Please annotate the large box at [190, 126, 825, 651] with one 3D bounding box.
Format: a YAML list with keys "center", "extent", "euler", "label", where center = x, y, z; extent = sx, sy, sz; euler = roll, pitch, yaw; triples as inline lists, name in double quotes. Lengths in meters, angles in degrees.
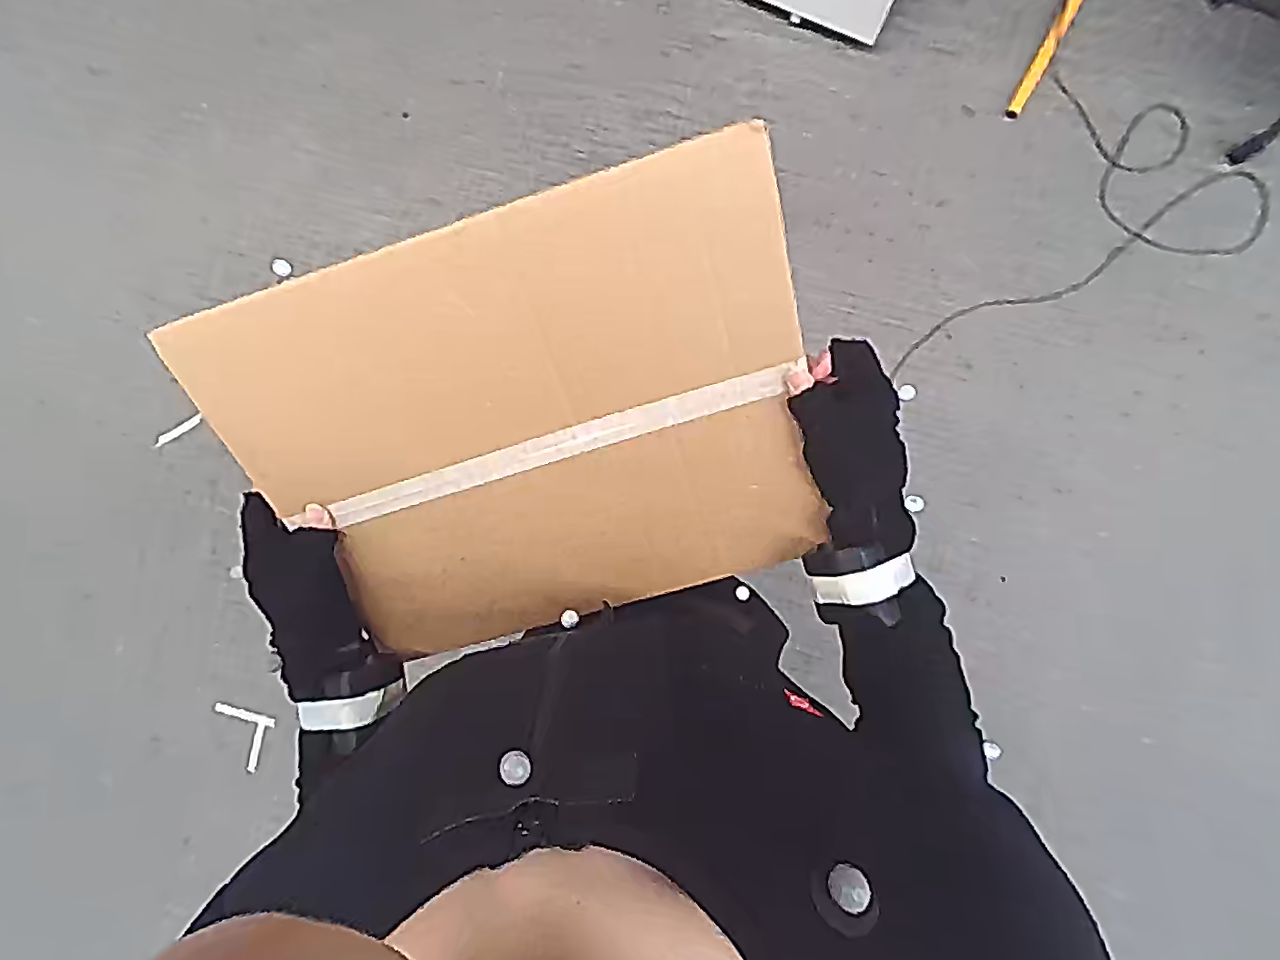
- center: [-0.083, -0.093, 0.543]
  extent: [0.408, 0.320, 0.320]
  euler: [-17, 118, 6]
  label: "large box"
